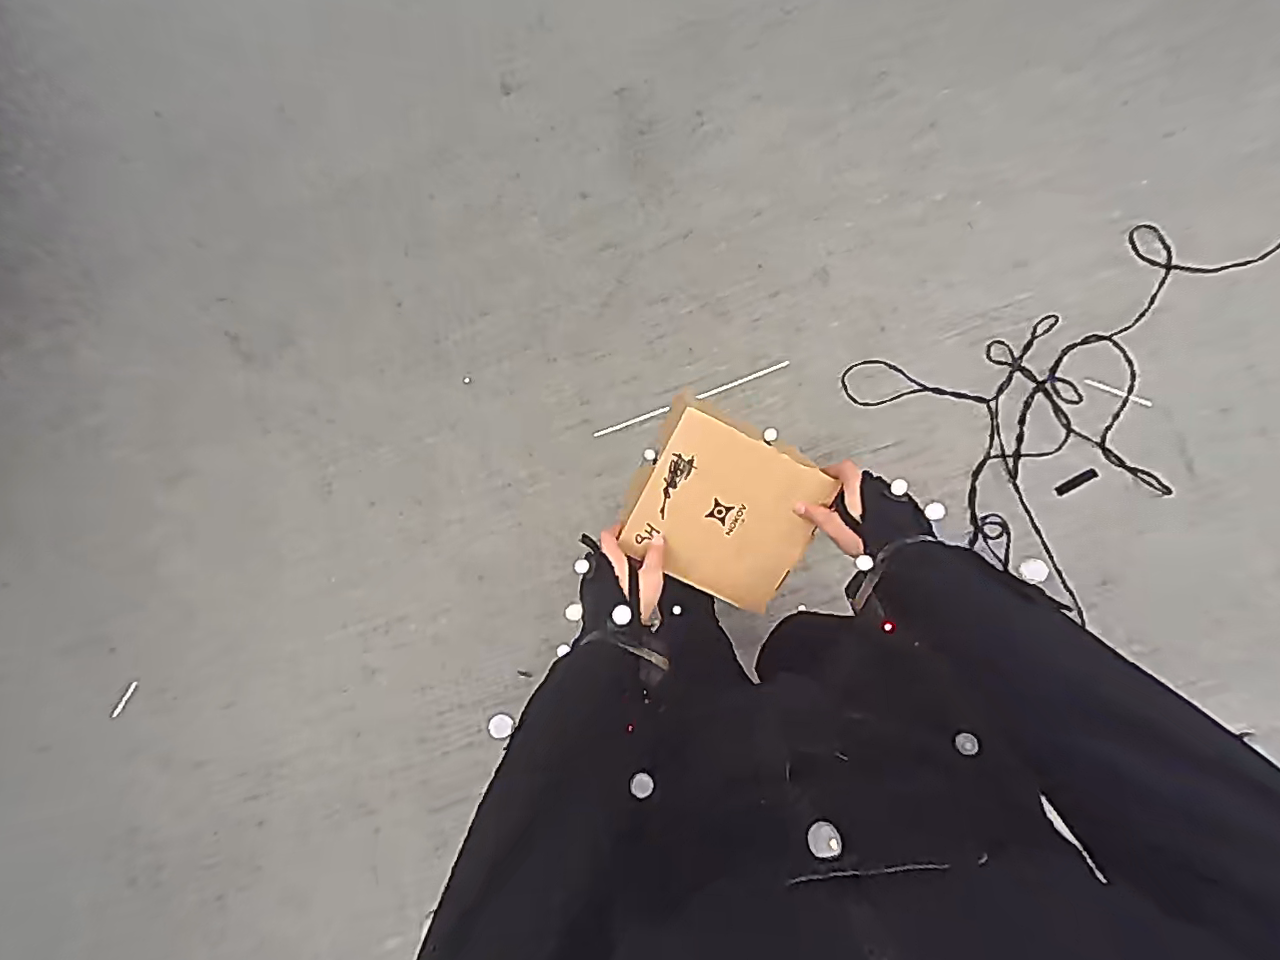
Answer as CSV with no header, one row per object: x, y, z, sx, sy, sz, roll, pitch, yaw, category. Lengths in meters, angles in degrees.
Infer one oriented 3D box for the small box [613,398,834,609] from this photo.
0.085,0.014,0.629,0.179,0.176,0.168,26,101,-5,small box
